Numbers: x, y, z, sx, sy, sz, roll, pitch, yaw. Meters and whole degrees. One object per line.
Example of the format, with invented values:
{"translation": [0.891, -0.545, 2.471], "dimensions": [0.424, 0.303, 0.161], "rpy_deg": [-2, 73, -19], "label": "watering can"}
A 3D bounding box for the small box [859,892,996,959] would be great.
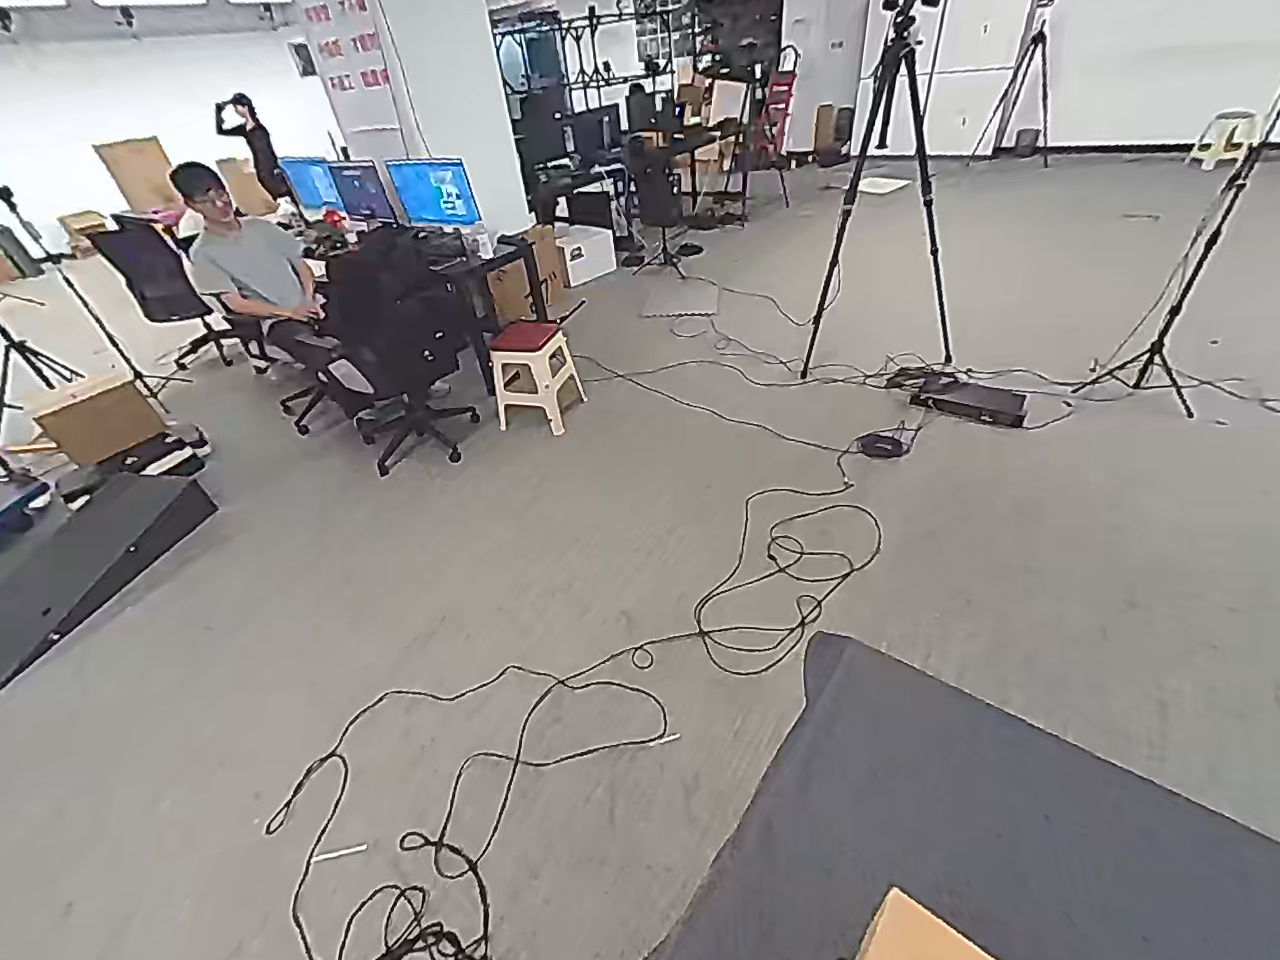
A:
{"translation": [0.255, 0.516, 0.458], "dimensions": [0.168, 0.176, 0.179], "rpy_deg": [24, 46, 34], "label": "small box"}
